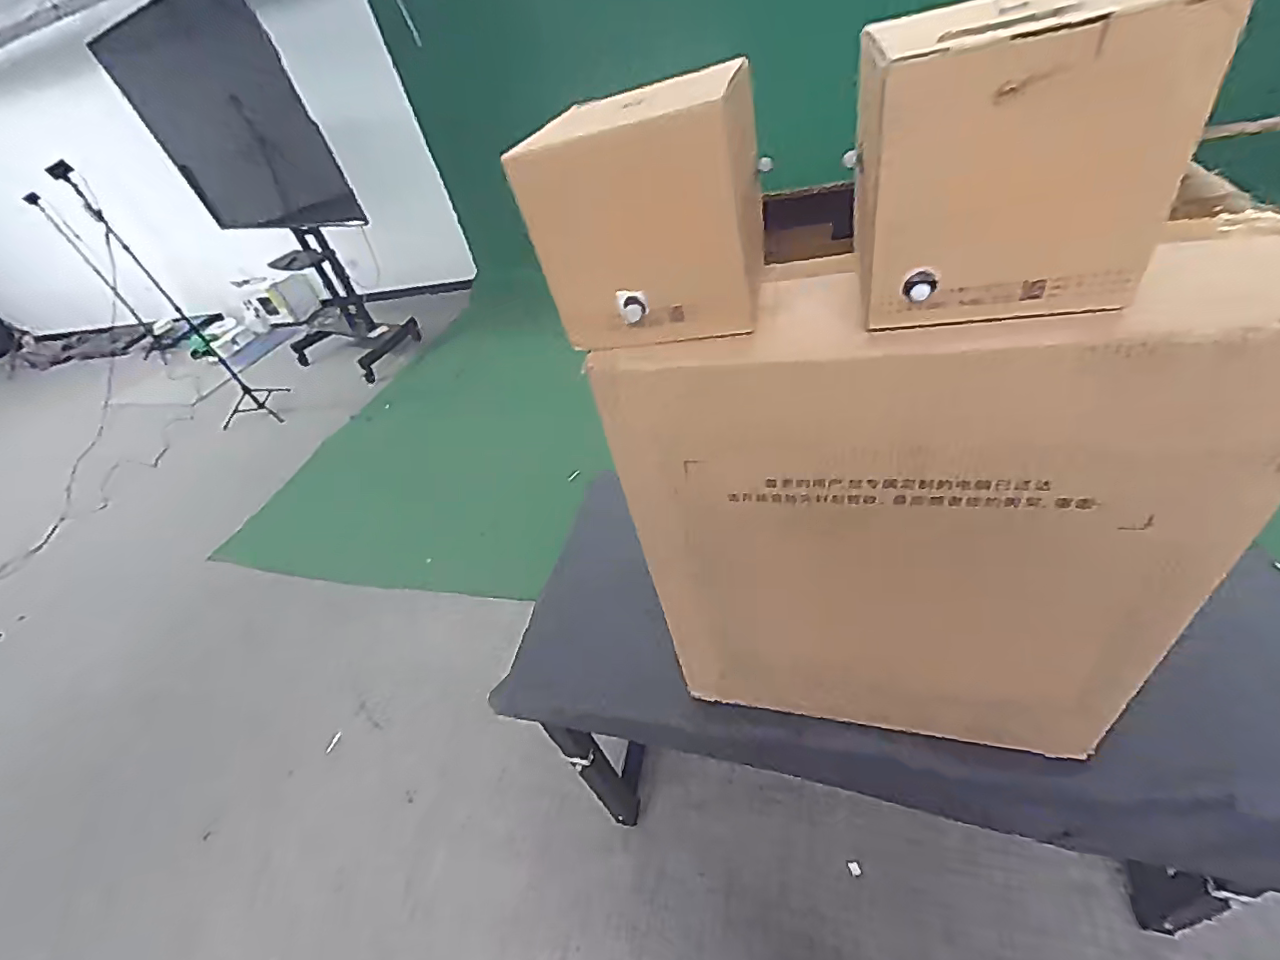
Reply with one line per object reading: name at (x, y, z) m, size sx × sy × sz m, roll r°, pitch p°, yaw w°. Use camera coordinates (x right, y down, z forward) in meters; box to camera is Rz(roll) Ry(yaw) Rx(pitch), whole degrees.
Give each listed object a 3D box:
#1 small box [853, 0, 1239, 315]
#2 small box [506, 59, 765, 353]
small box at (0.246, -0.230, 0.387) m, size 0.168 × 0.176 × 0.179 m, roll 0°, pitch 43°, yaw 18°
small box at (0.015, -0.234, 0.477) m, size 0.168 × 0.176 × 0.179 m, roll -3°, pitch 44°, yaw 20°
